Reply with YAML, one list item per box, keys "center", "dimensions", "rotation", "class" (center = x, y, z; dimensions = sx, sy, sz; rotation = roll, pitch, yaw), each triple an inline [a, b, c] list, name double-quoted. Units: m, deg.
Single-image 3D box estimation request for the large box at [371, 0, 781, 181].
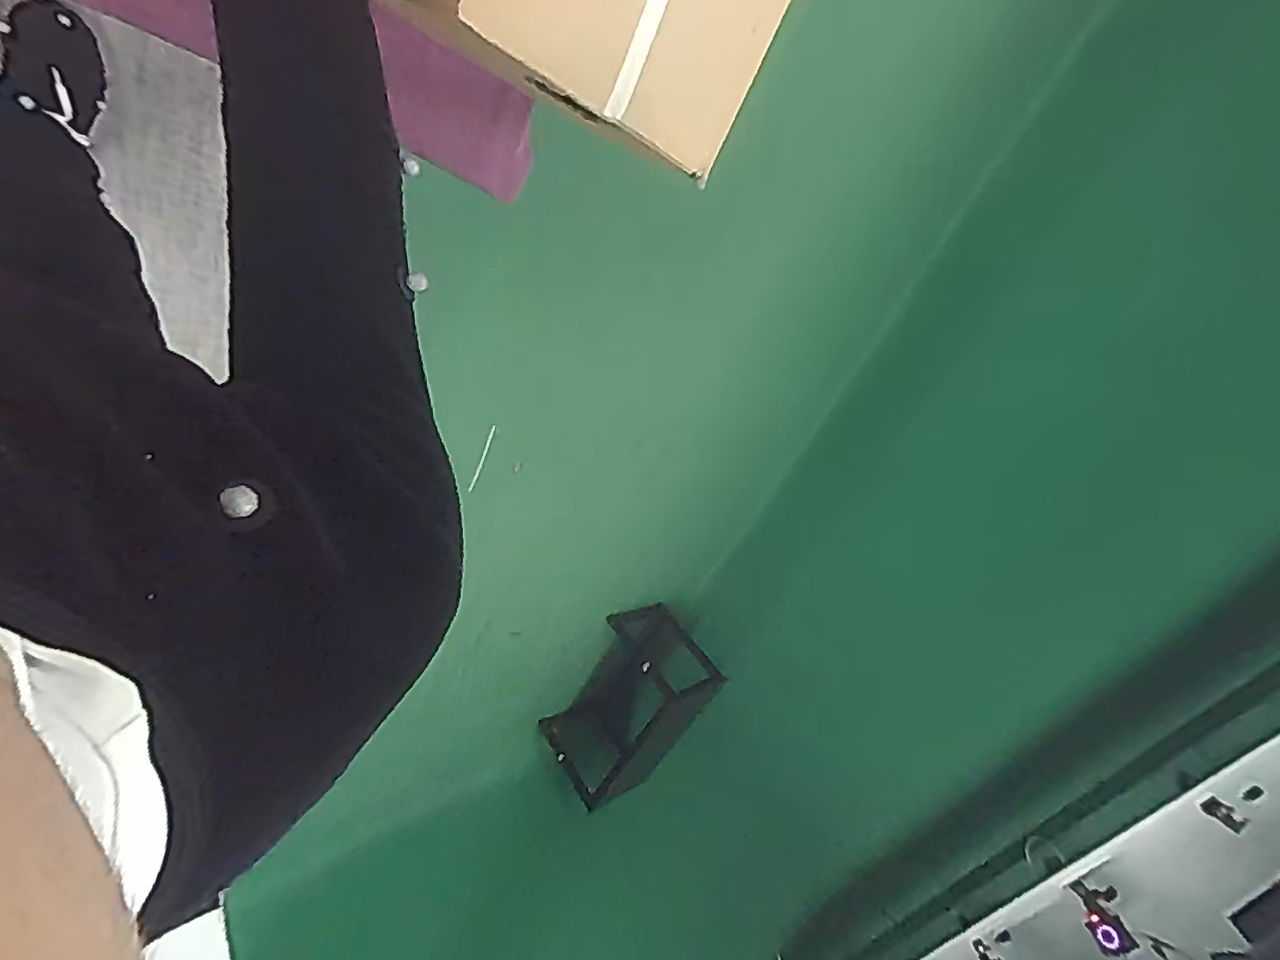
- center: [-0.039, -0.594, 0.517]
  dimensions: [0.320, 0.320, 0.408]
  rotation: [0, 128, -46]
  class: "large box"
